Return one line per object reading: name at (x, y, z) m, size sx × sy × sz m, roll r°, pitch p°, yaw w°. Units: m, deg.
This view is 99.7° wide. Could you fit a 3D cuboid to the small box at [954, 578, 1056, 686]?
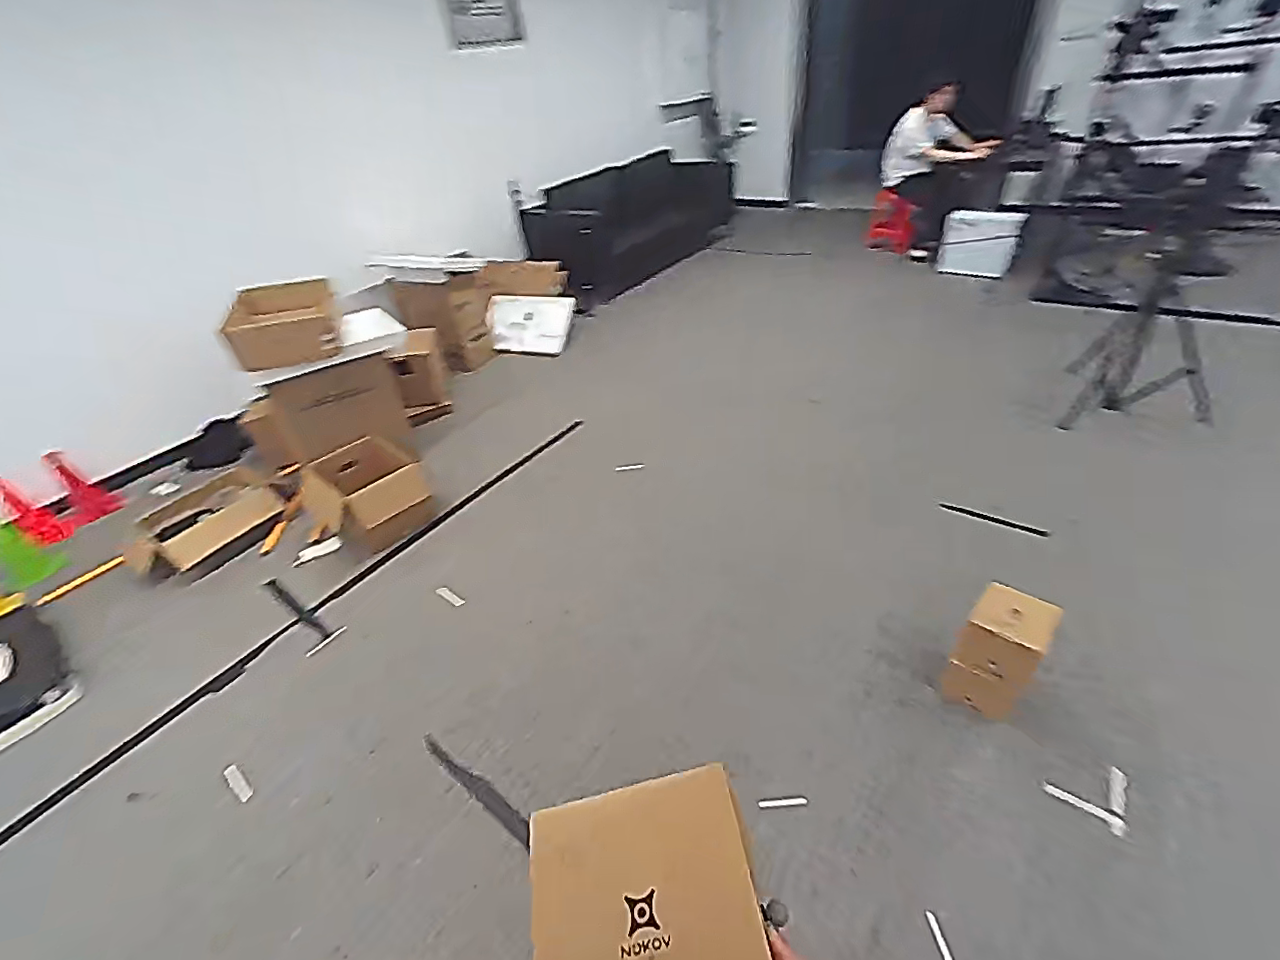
small box at (0.958, 0.401, 1.430) m, size 0.168 × 0.176 × 0.179 m, roll 23°, pitch 47°, yaw 36°
